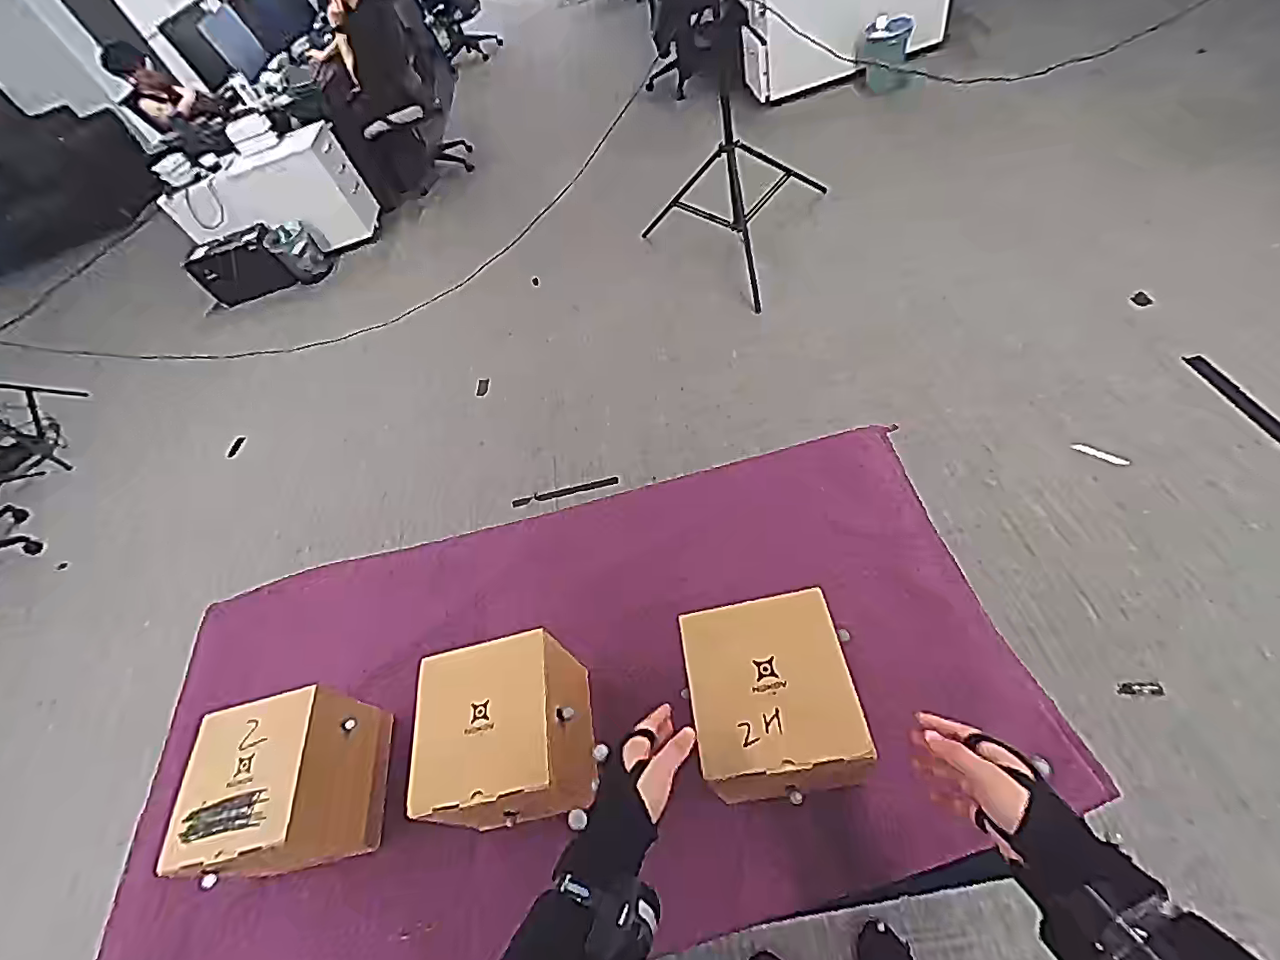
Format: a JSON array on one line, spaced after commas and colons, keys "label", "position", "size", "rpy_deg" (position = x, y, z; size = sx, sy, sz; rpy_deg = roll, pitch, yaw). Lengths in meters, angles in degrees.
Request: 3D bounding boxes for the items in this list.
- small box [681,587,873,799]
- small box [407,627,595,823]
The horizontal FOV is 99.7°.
[{"label": "small box", "position": [0.151, 0.250, 0.625], "size": [0.168, 0.176, 0.179], "rpy_deg": [-14, 51, 9]}, {"label": "small box", "position": [-0.163, 0.313, 0.683], "size": [0.168, 0.176, 0.179], "rpy_deg": [-16, 52, 6]}]
